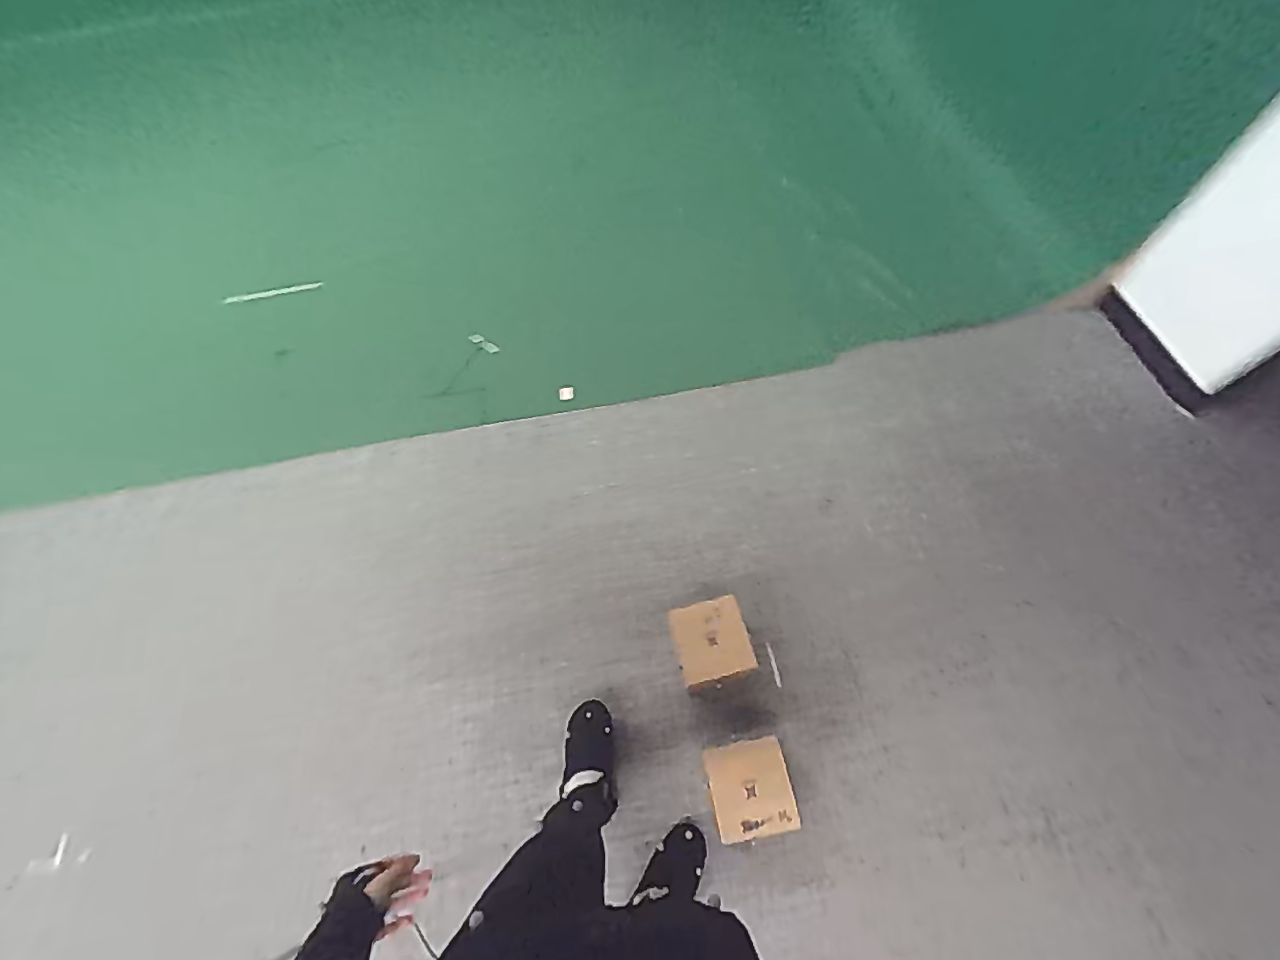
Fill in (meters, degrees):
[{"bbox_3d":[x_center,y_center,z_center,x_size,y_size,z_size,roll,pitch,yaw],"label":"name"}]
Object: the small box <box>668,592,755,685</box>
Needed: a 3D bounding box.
[{"bbox_3d":[0.170,0.397,1.330,0.168,0.176,0.179,-13,62,-3],"label":"small box"}]
